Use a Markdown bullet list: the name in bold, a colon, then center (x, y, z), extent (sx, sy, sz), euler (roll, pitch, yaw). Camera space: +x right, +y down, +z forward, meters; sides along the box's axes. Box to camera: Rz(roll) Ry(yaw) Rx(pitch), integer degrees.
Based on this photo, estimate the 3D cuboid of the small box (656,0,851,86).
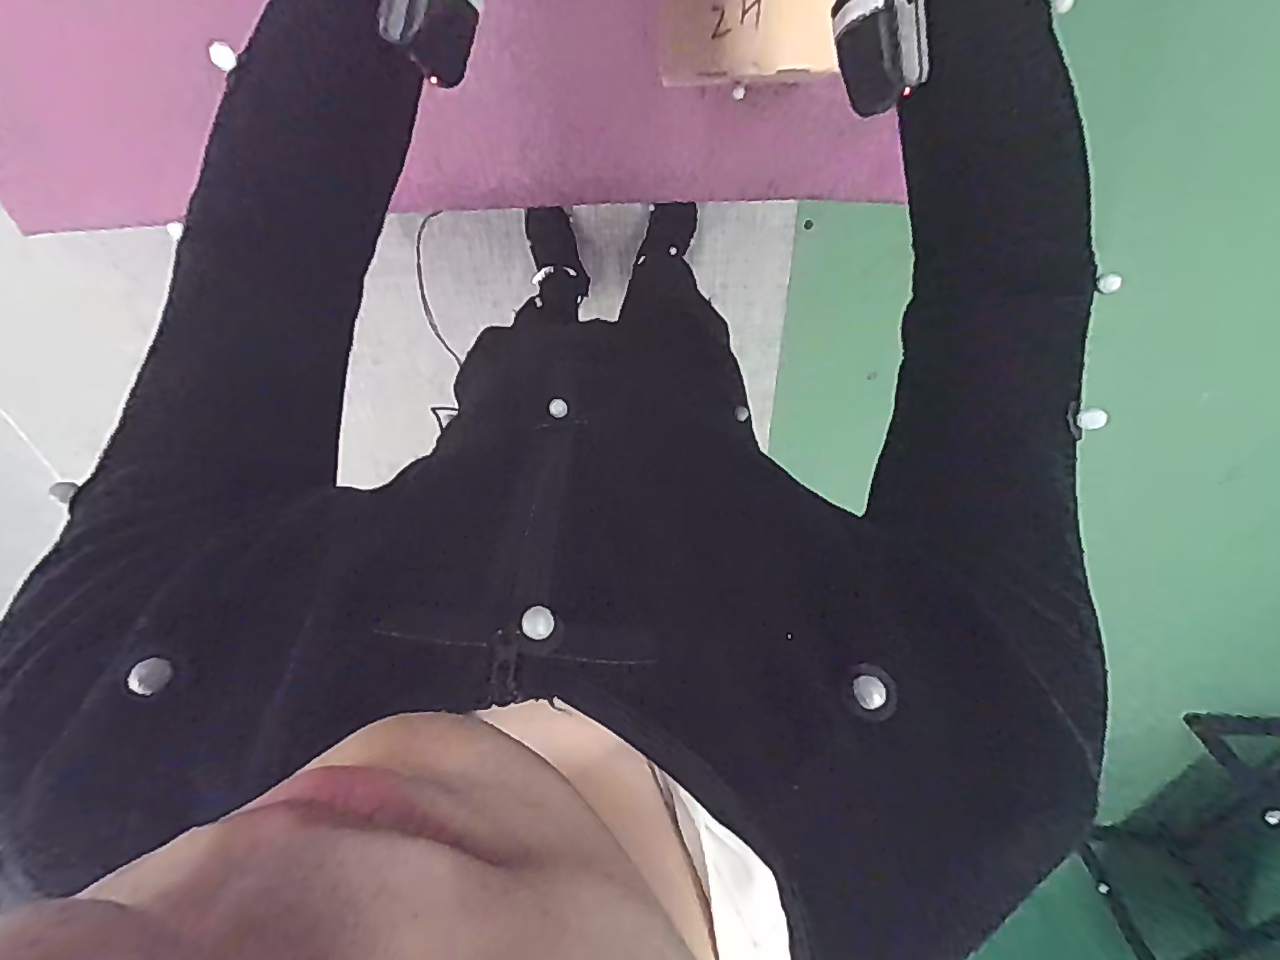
- **small box**: center (0.099, -0.480, 0.502), extent (0.168, 0.176, 0.179), euler (1, 124, 3)
